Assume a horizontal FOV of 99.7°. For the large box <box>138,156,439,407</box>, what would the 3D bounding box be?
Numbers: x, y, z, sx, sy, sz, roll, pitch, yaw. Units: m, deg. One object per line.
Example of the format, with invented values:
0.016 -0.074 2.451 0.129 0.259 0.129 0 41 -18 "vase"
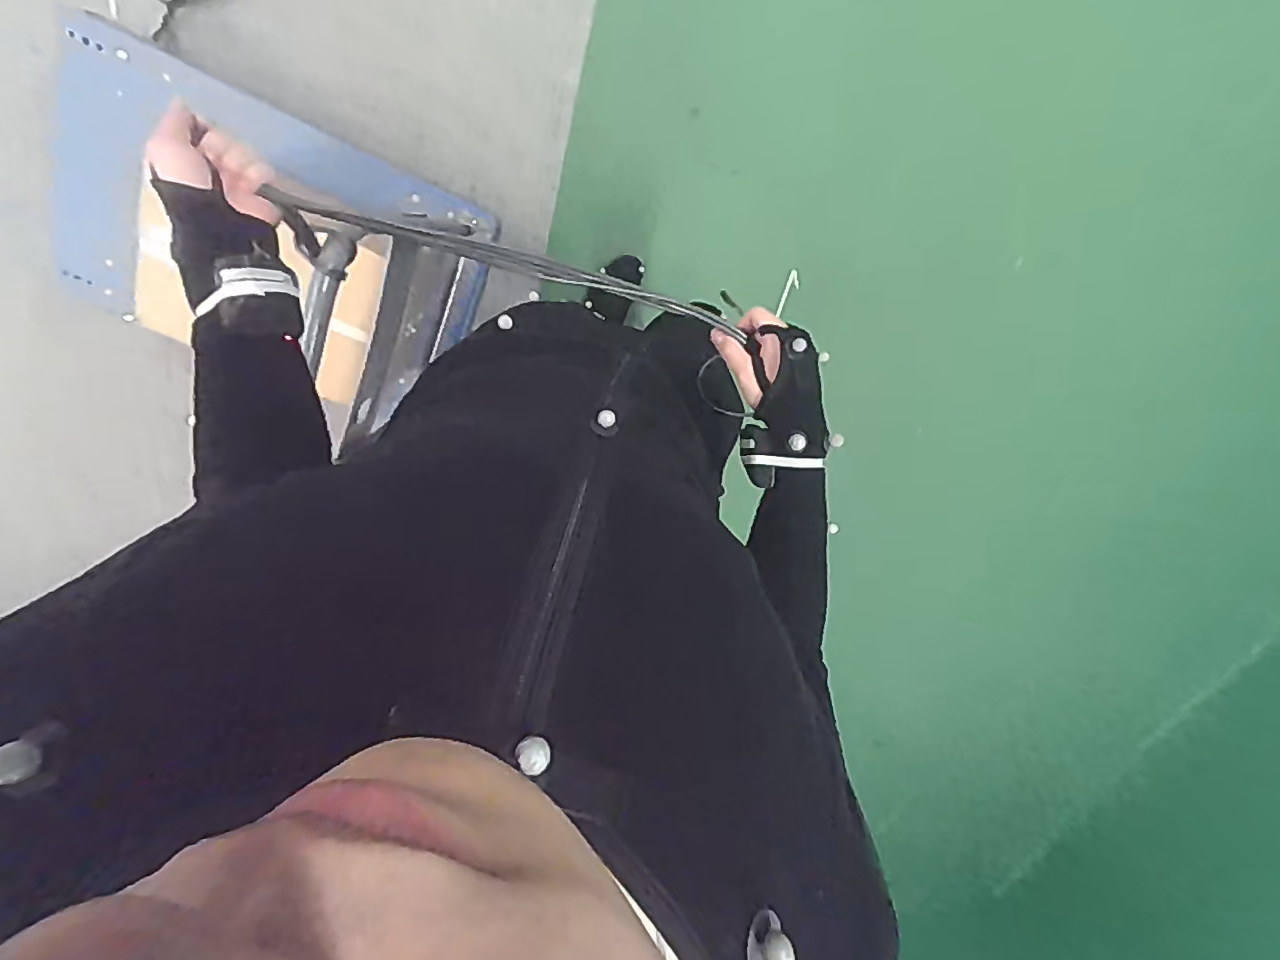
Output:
-0.690 -0.403 1.117 0.408 0.320 0.320 22 112 -12 "large box"
